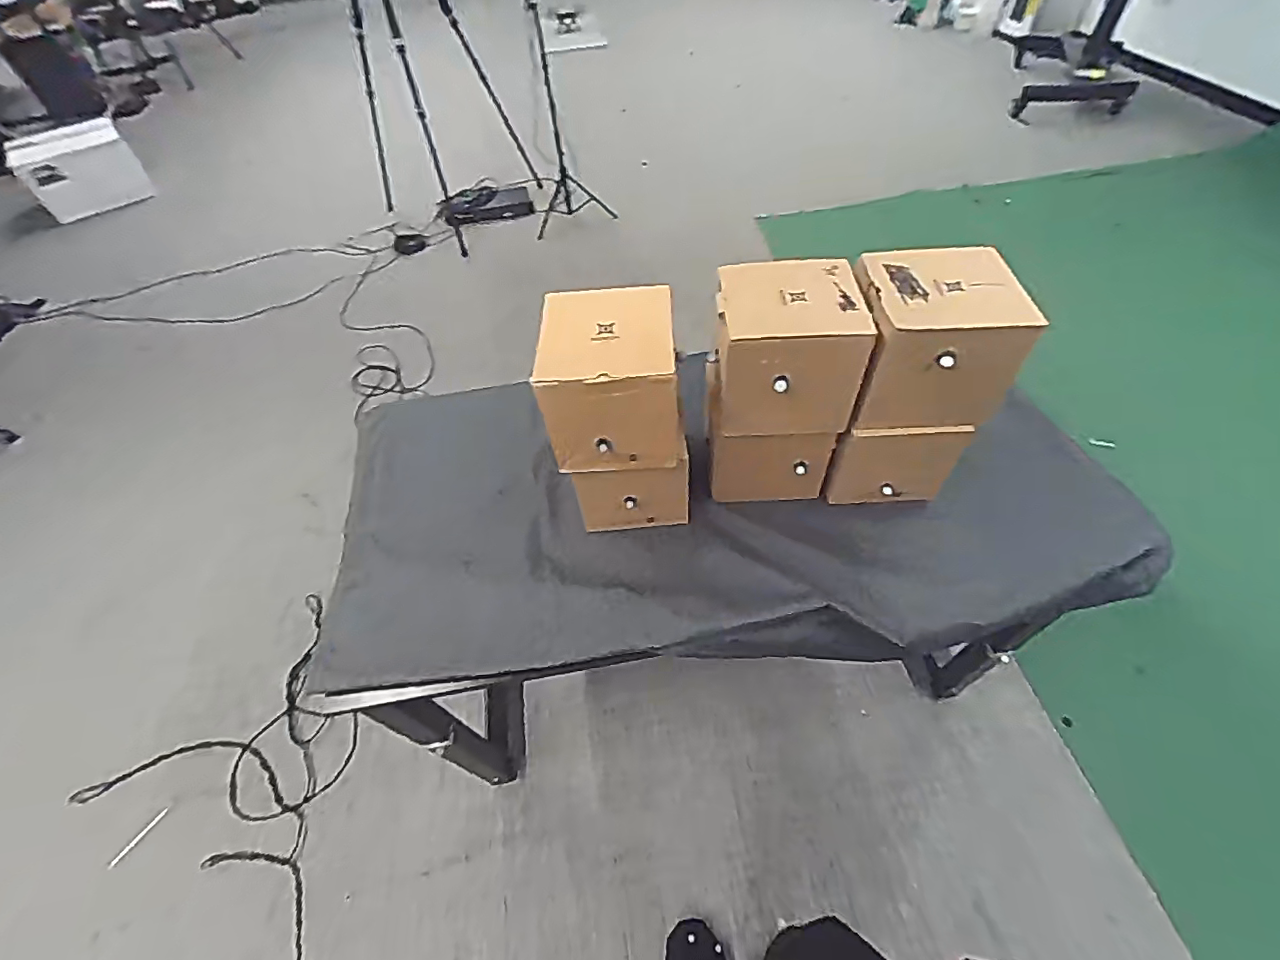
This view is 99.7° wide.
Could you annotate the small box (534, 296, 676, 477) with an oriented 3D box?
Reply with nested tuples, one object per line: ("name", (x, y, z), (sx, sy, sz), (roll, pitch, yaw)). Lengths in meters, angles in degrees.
("small box", (-0.037, -0.123, 0.733), (0.168, 0.176, 0.179), (-3, 54, 3))
